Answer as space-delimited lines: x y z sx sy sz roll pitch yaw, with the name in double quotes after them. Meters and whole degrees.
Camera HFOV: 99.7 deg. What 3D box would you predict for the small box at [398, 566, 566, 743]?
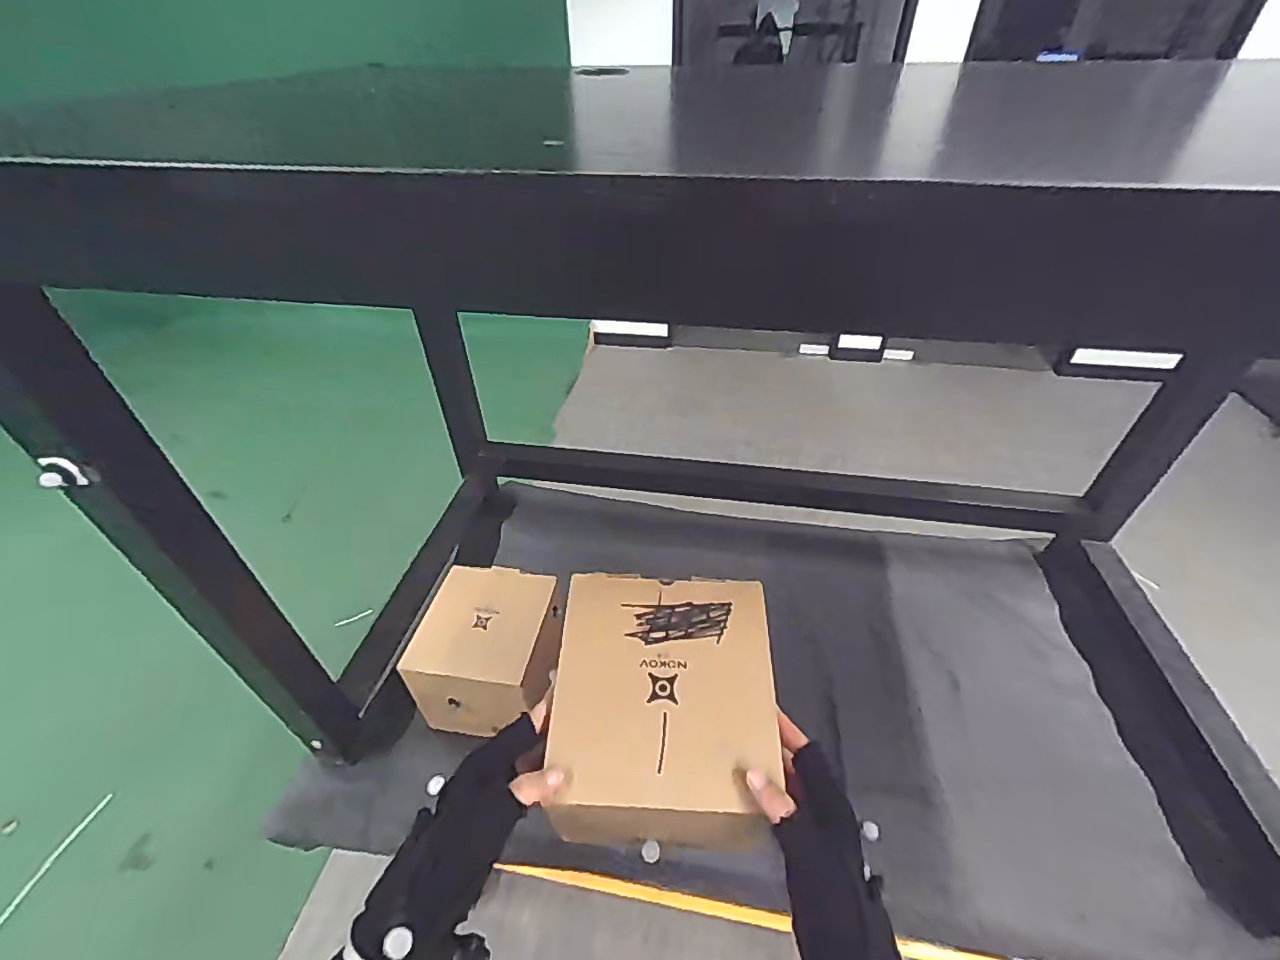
-0.209 0.251 0.780 0.168 0.176 0.179 5 39 7 "small box"
